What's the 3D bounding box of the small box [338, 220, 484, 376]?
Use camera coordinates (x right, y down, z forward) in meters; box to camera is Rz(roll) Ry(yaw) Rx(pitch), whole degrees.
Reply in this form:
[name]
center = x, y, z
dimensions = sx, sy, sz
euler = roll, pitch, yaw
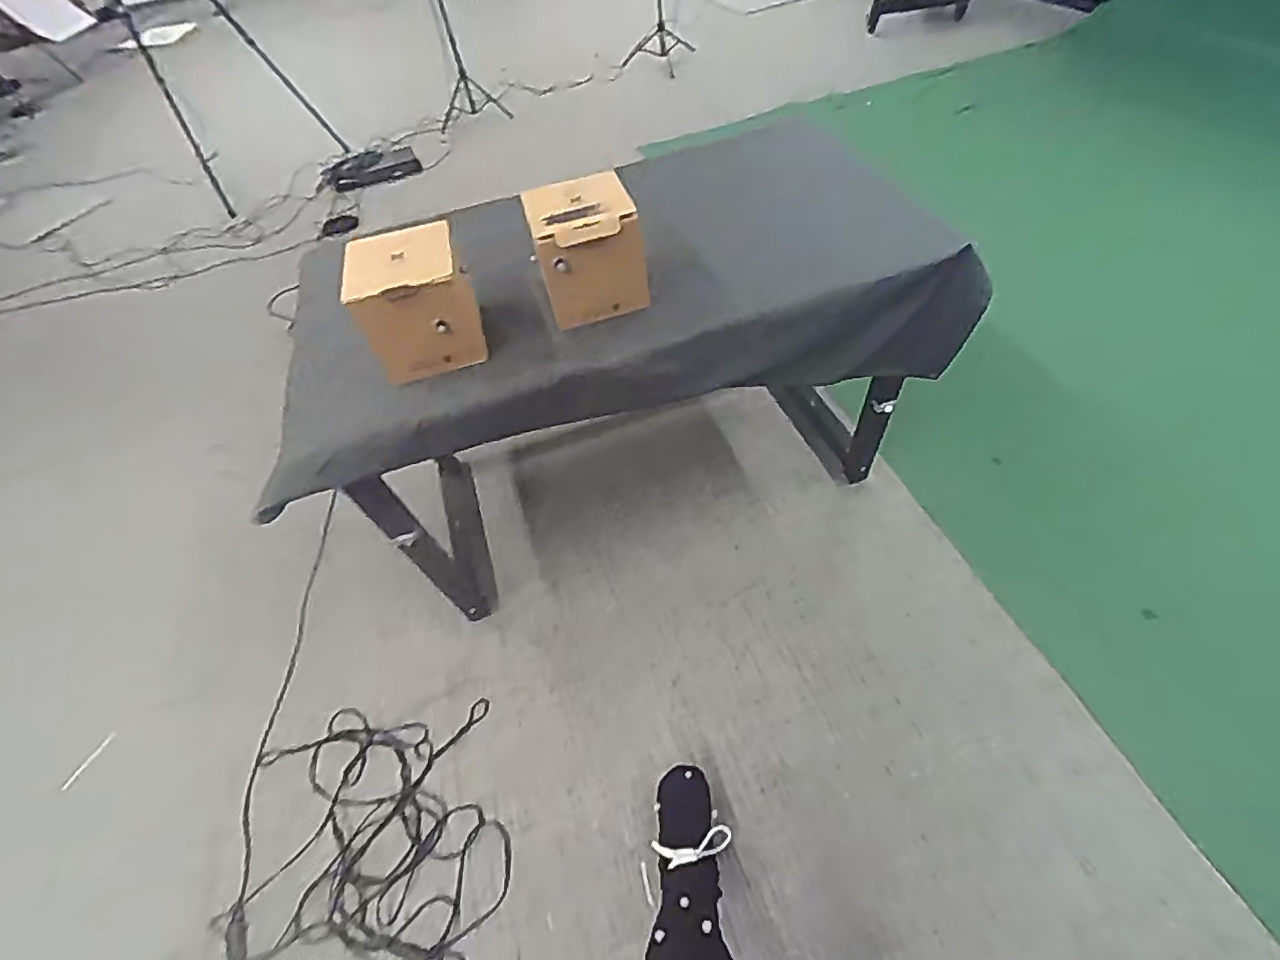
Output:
[small box]
center = -0.365, -0.290, 0.886
dimensions = 0.168, 0.176, 0.179
euler = -16, 52, -6
